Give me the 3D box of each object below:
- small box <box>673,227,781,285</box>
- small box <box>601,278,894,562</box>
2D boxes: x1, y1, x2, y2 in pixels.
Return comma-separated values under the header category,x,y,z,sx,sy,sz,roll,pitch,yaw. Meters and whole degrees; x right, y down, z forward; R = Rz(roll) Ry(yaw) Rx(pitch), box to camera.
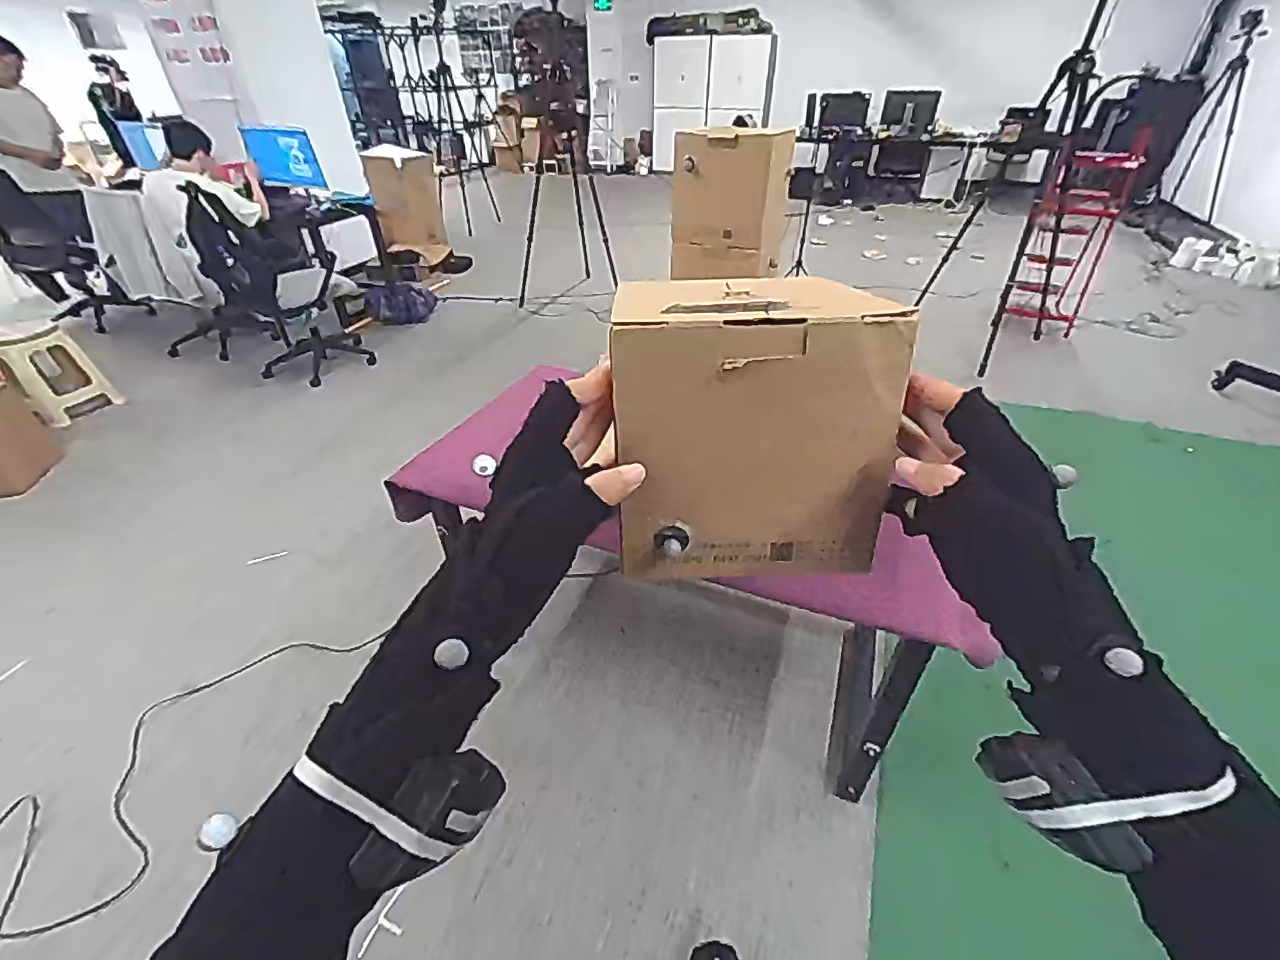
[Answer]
category,x,y,z,sx,sy,sz,roll,pitch,yaw
small box,0.165,-0.384,1.064,0.168,0.176,0.179,15,39,20
small box,0.064,-0.050,0.406,0.168,0.176,0.179,-1,26,1
